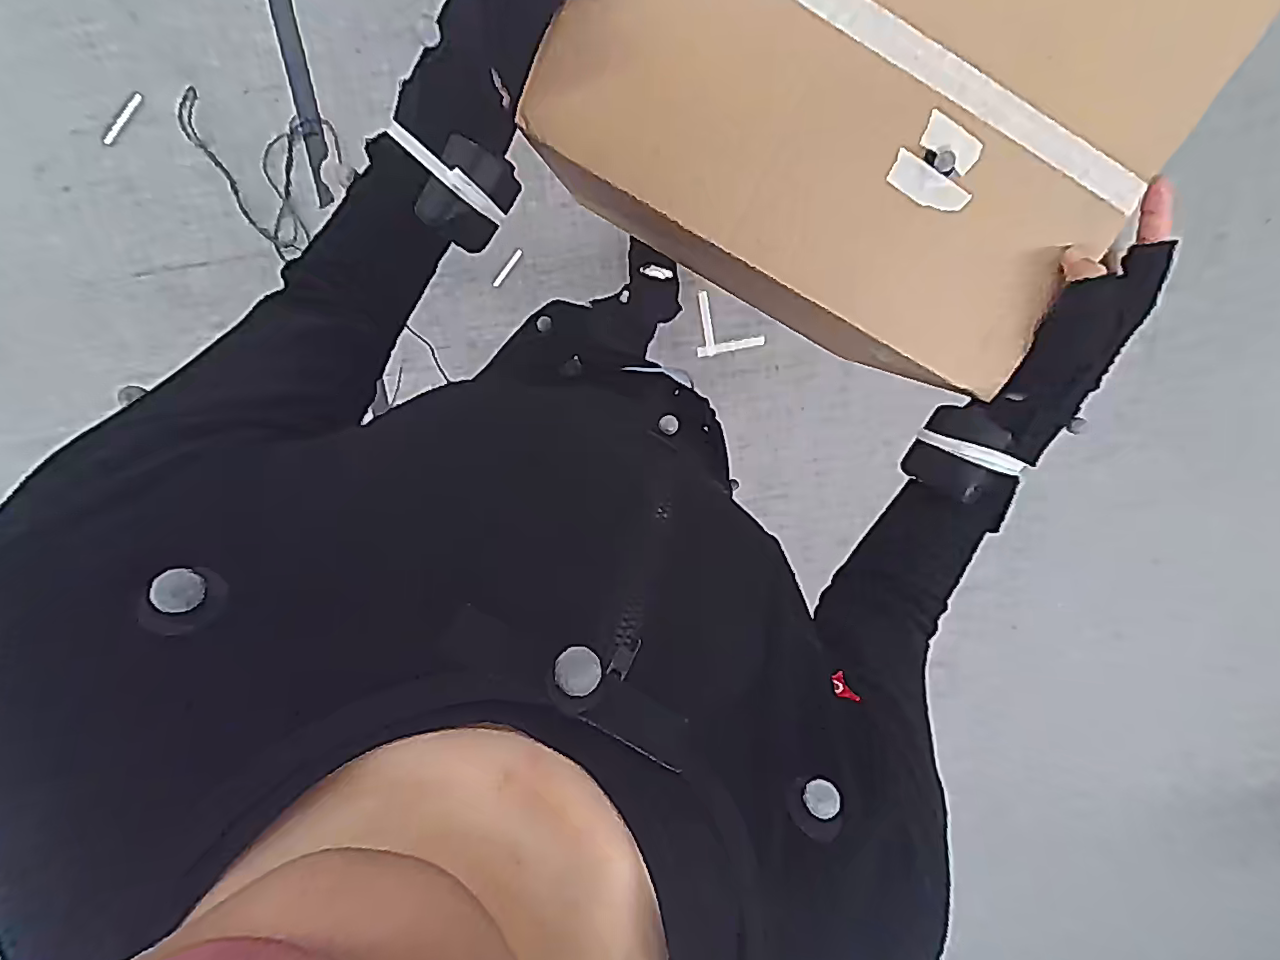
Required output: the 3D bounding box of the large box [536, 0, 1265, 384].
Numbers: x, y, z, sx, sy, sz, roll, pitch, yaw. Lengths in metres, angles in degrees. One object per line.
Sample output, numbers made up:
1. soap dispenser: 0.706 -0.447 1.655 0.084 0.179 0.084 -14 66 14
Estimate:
1. large box: 0.169 -0.335 0.503 0.408 0.320 0.320 27 108 -8
